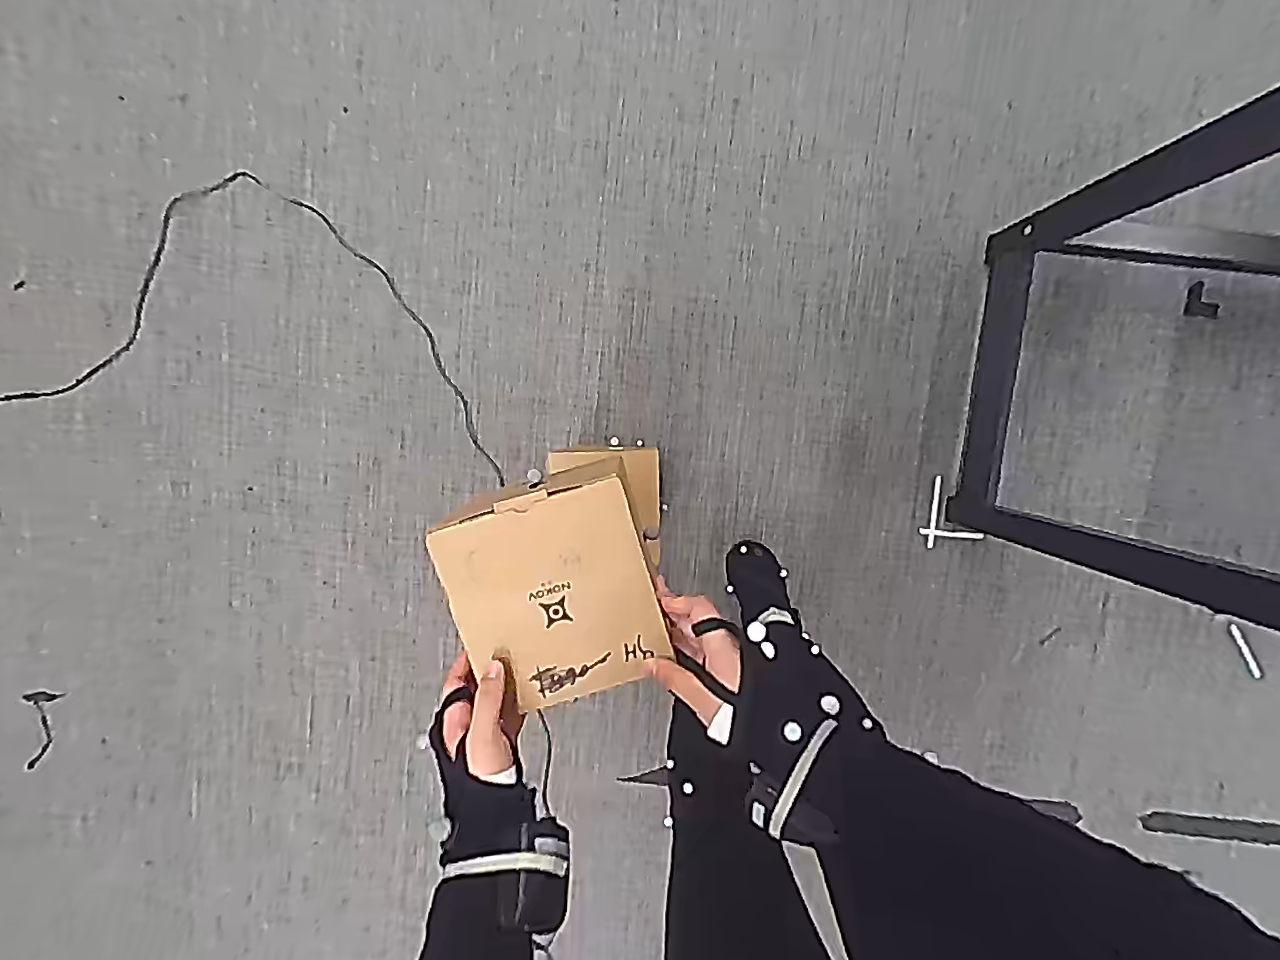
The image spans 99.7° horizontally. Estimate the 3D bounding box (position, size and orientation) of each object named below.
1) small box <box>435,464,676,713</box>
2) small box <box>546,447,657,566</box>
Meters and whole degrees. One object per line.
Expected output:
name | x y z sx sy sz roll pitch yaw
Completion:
small box | -0.072 0.087 0.531 0.168 0.176 0.179 -16 99 1
small box | -0.056 0.038 0.879 0.168 0.176 0.179 -2 95 -1
